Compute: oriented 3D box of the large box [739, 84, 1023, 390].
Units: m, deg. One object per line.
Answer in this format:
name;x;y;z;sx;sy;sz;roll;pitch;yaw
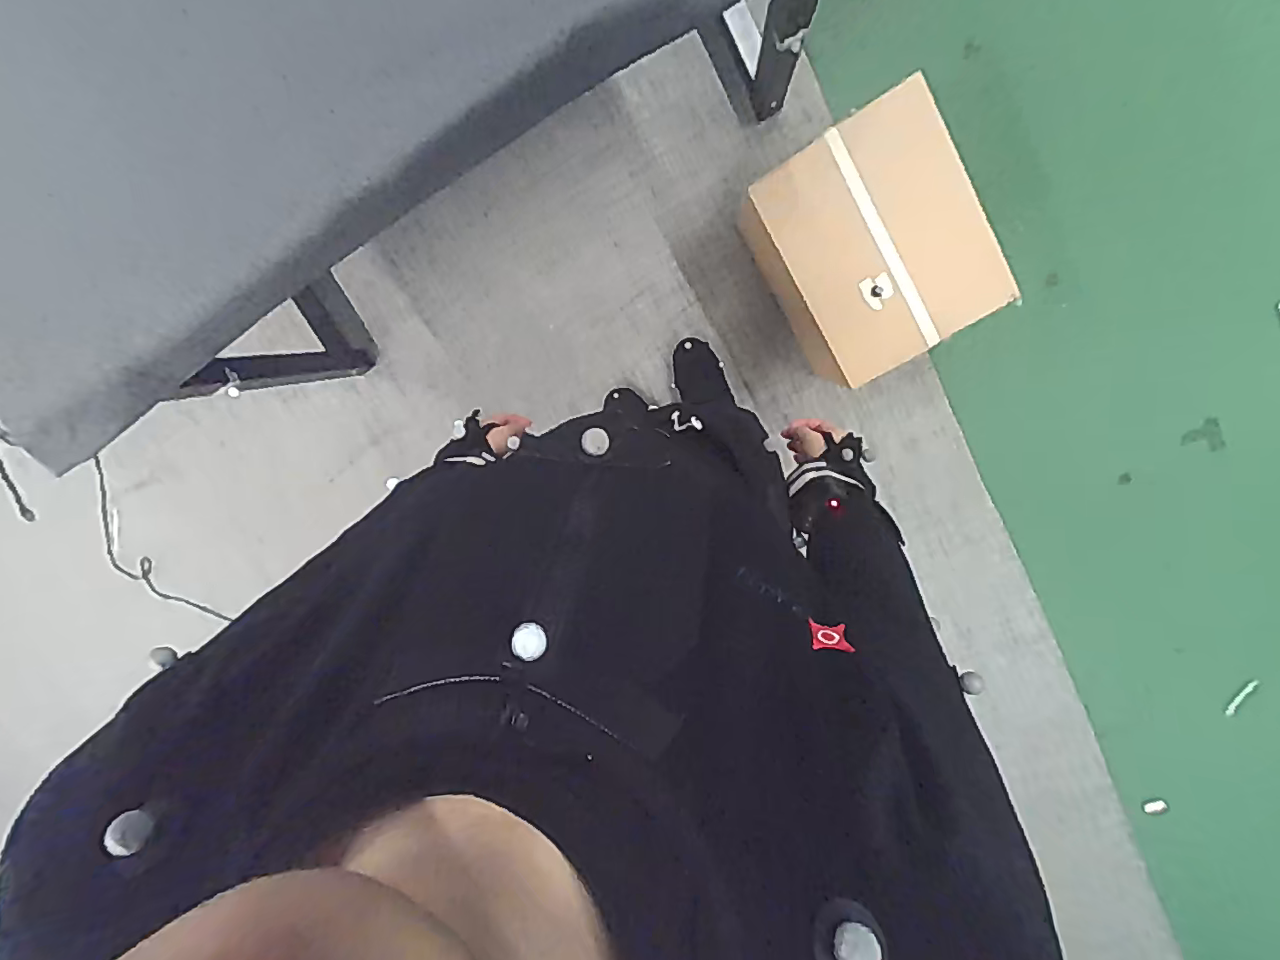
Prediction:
large box;0.436;-0.437;1.068;0.320;0.320;0.408;-30;100;13
